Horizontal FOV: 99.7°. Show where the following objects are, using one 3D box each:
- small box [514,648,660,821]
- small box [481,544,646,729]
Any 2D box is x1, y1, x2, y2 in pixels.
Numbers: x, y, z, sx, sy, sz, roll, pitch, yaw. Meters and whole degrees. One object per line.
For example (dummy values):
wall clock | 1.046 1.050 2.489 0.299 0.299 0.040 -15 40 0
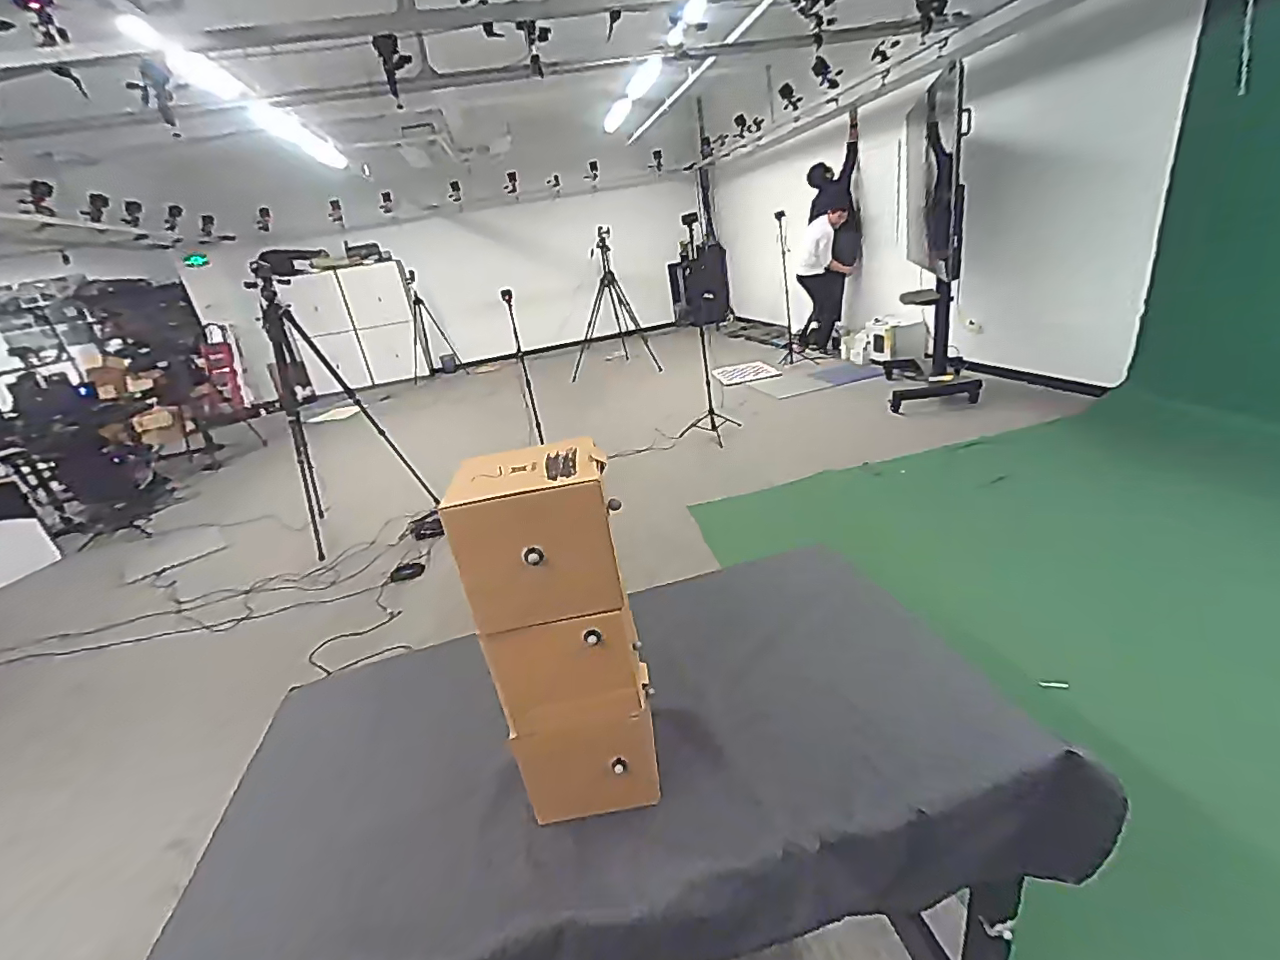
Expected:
small box | -0.068 0.360 0.795 0.179 0.176 0.168 -11 22 0
small box | -0.095 0.211 0.738 0.179 0.176 0.168 -9 22 -1
